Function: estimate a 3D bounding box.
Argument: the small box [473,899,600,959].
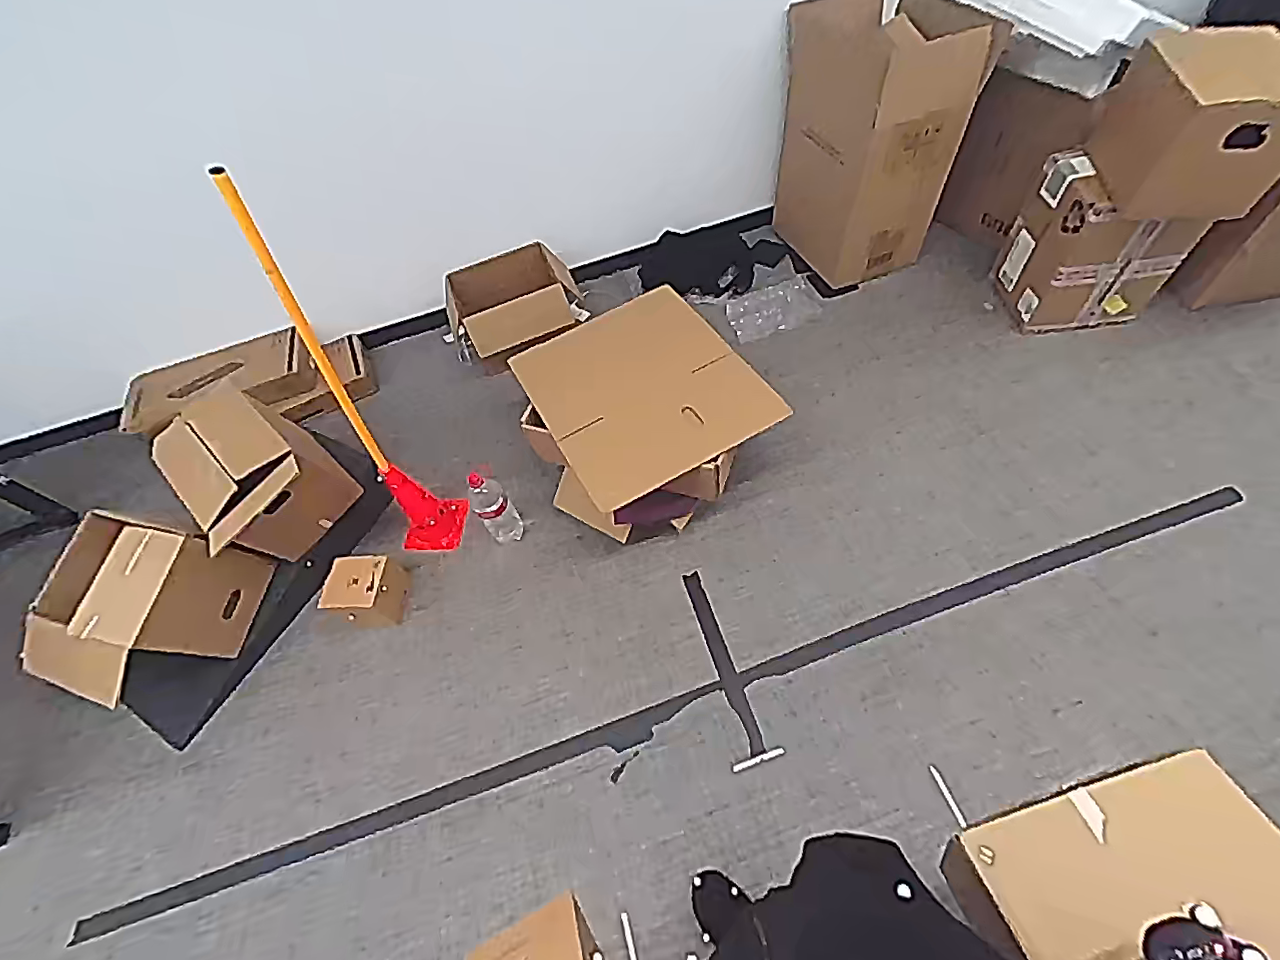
[{"bbox_3d":[-0.119,0.718,0.699,0.168,0.179,0.176,-24,92,-13],"label":"small box"}]
